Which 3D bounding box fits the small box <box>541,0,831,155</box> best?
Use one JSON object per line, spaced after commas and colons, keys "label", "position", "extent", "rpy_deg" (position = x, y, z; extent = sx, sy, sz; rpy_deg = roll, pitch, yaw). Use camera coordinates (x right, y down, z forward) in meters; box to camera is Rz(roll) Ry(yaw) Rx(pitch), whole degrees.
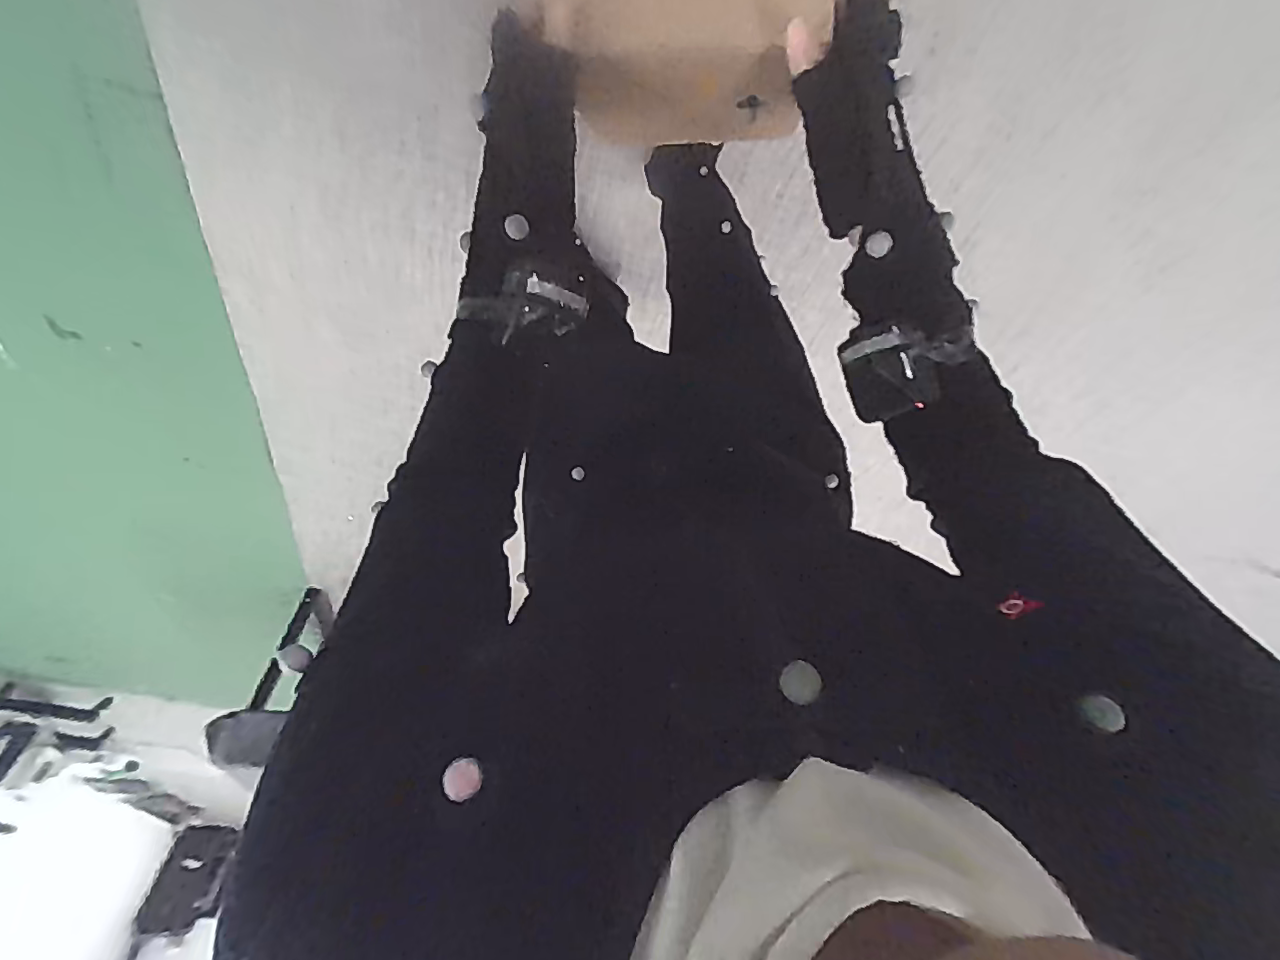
{"label": "small box", "position": [0.035, -0.351, 0.385], "extent": [0.179, 0.176, 0.168], "rpy_deg": [1, 106, 10]}
